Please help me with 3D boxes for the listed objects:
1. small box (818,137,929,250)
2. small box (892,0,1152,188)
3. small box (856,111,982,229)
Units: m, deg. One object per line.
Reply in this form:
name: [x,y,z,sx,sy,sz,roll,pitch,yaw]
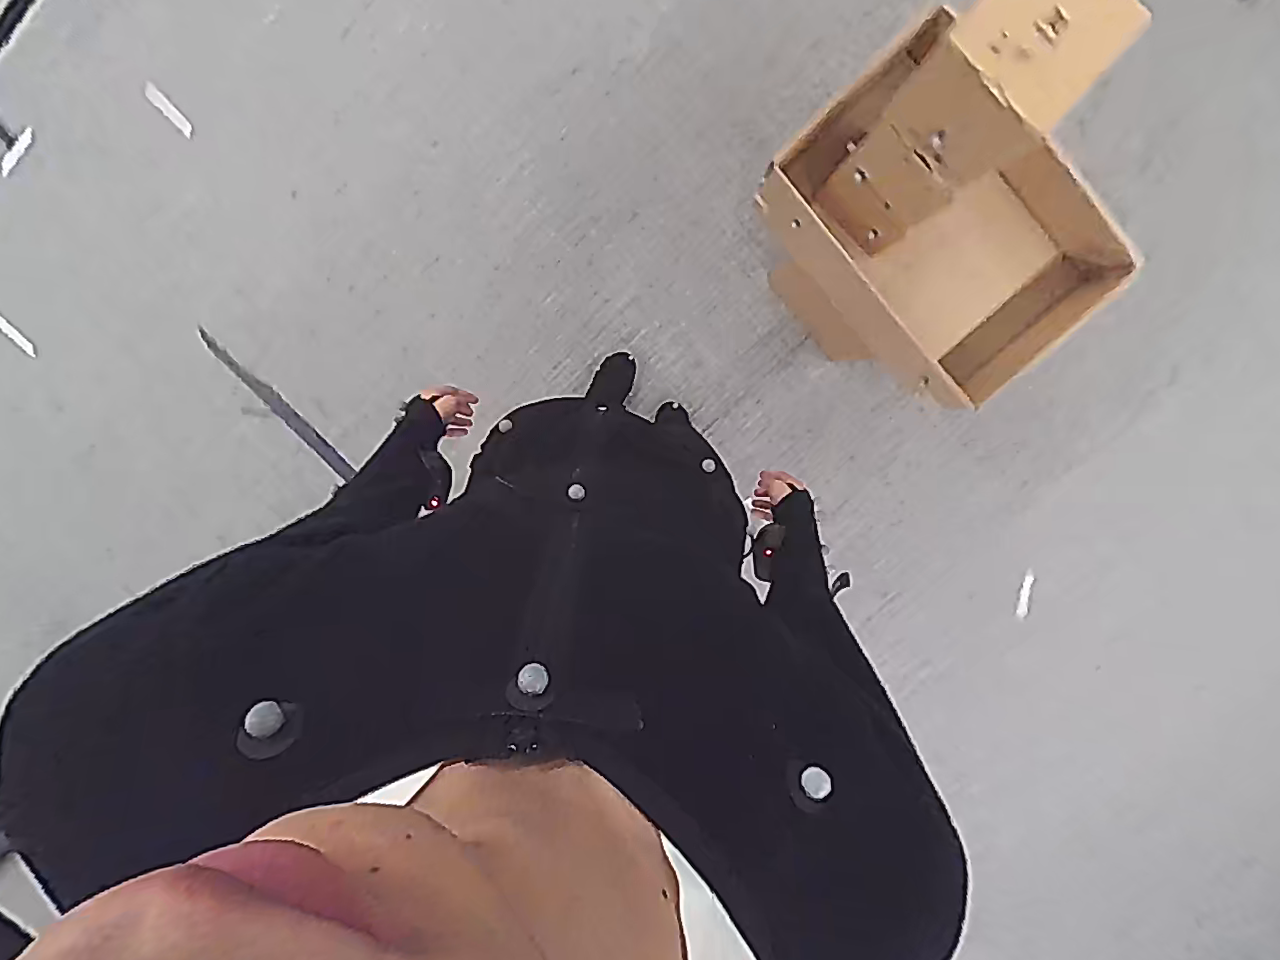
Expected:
small box: [0.473,-0.561,1.021,0.179,0.176,0.168,43,98,-6]
small box: [0.468,-0.524,0.694,0.168,0.176,0.179,42,97,-6]
small box: [0.472,-0.538,0.859,0.168,0.176,0.179,44,96,-7]
